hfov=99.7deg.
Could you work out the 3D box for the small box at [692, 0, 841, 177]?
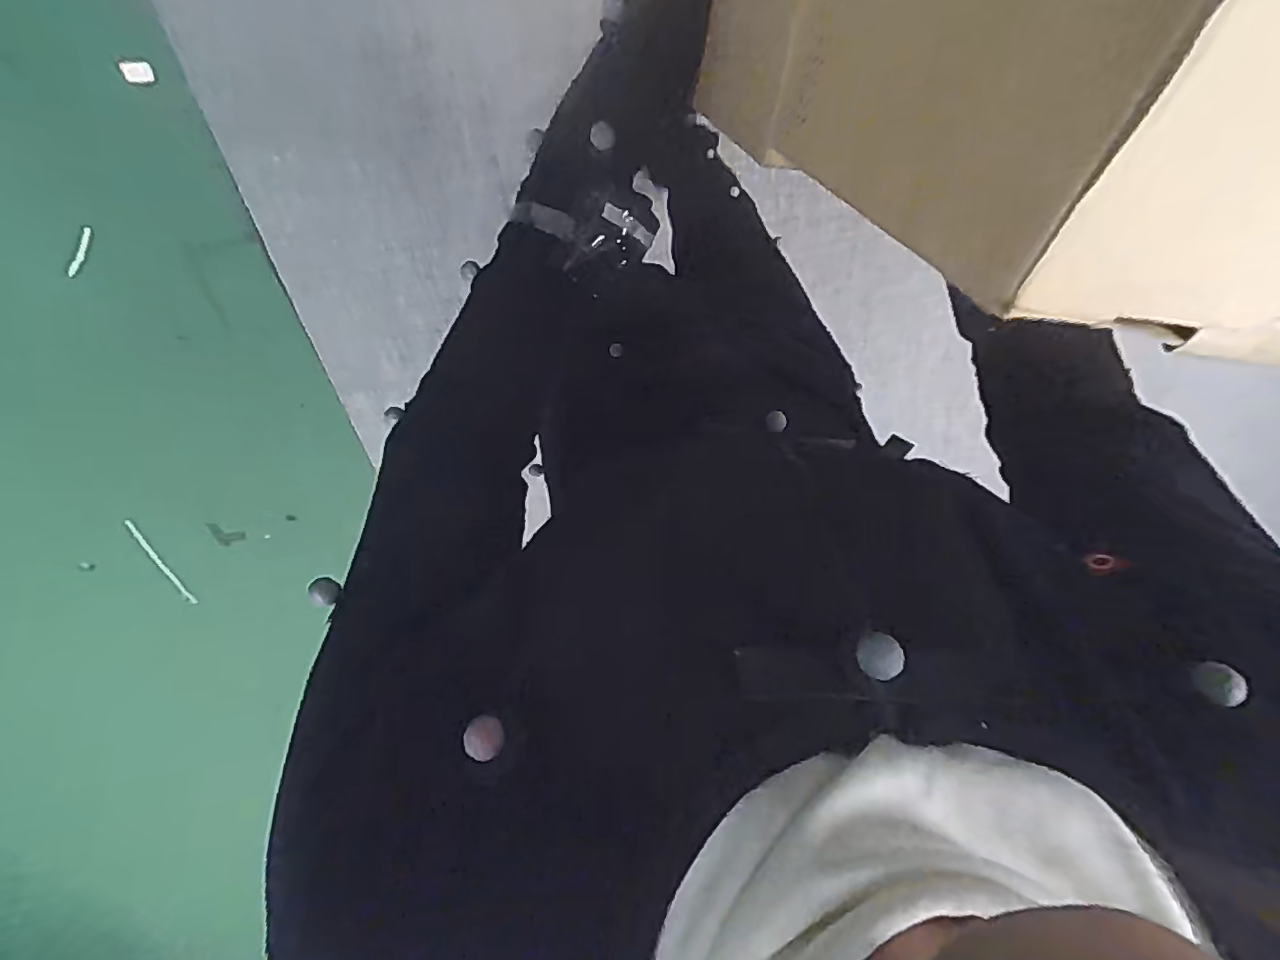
[{"bbox_3d":[0.137,-0.264,0.270,0.179,0.176,0.168,-4,134,-9],"label":"small box"}]
